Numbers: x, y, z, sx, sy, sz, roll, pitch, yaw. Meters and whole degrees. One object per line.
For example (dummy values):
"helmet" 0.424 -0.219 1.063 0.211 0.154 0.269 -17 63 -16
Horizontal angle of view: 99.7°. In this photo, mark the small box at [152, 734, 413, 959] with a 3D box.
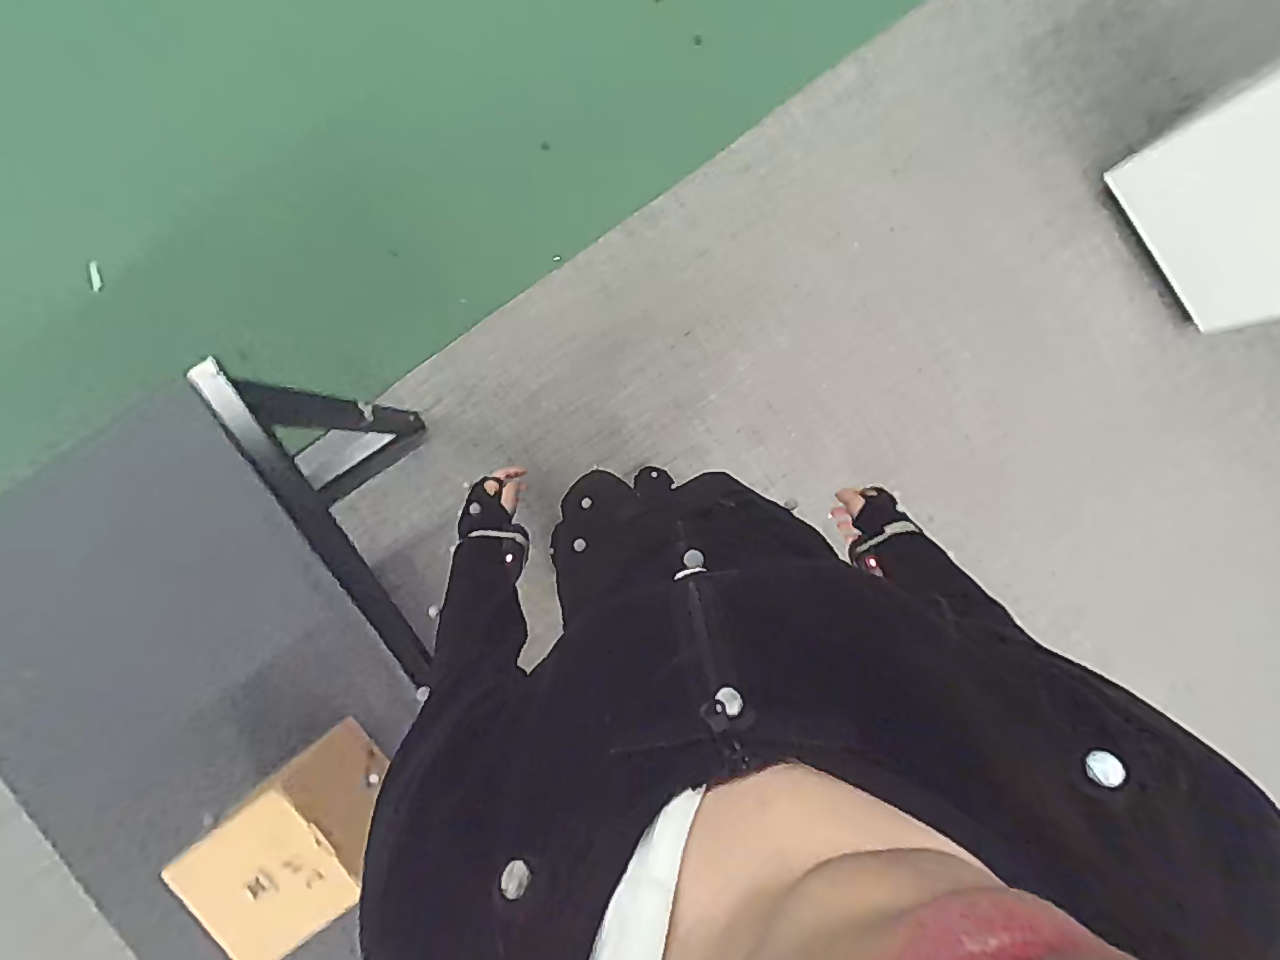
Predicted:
"small box" -0.426 0.467 0.678 0.179 0.176 0.168 -38 93 1
